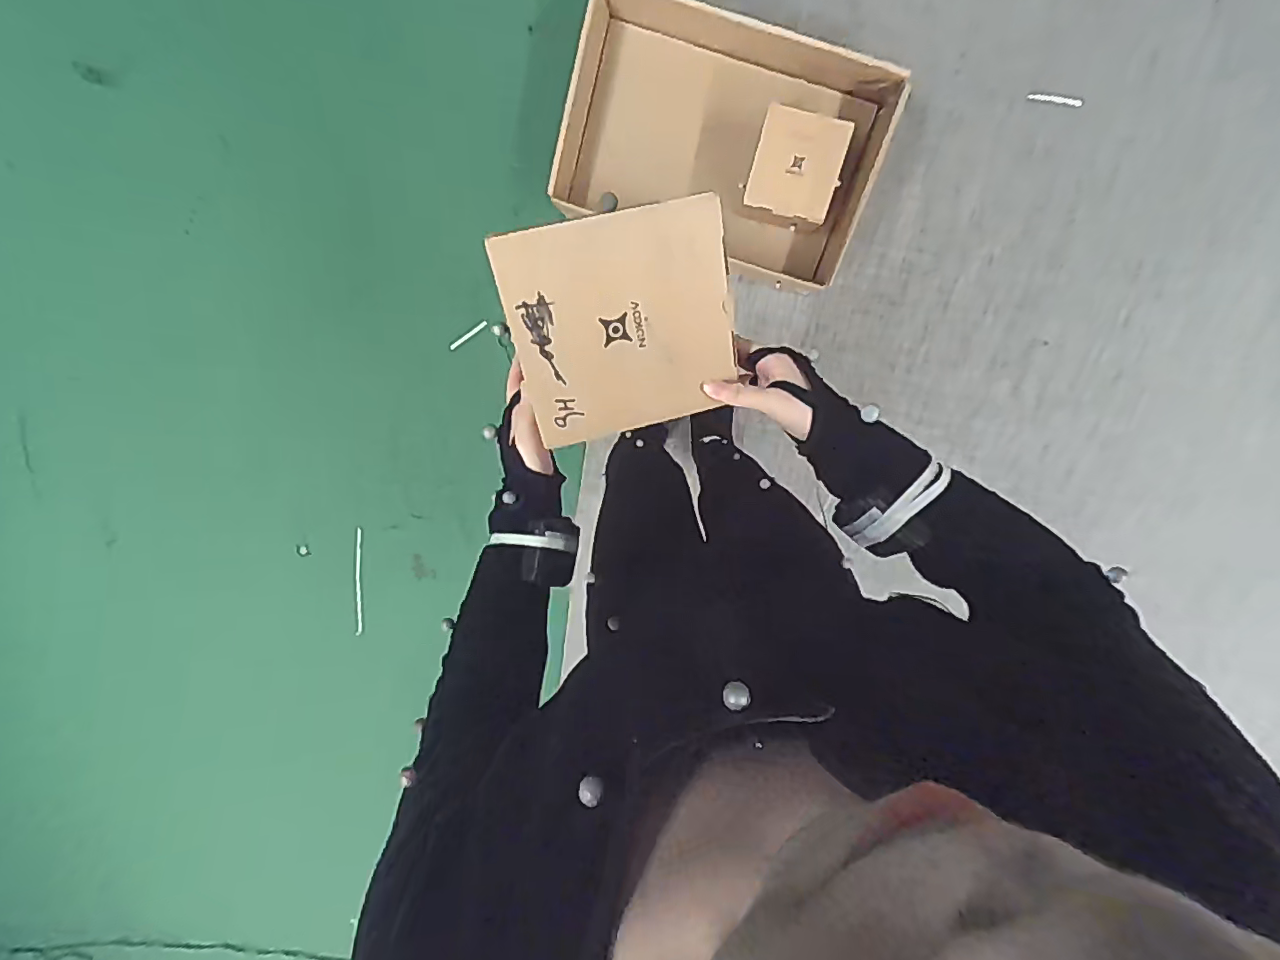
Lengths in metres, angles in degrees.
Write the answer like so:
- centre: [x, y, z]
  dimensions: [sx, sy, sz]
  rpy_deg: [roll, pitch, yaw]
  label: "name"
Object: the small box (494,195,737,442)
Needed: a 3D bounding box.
- centre: [-0.028, -0.155, 0.494]
  dimensions: [0.179, 0.176, 0.168]
  rpy_deg: [-14, 116, -7]
  label: "small box"
